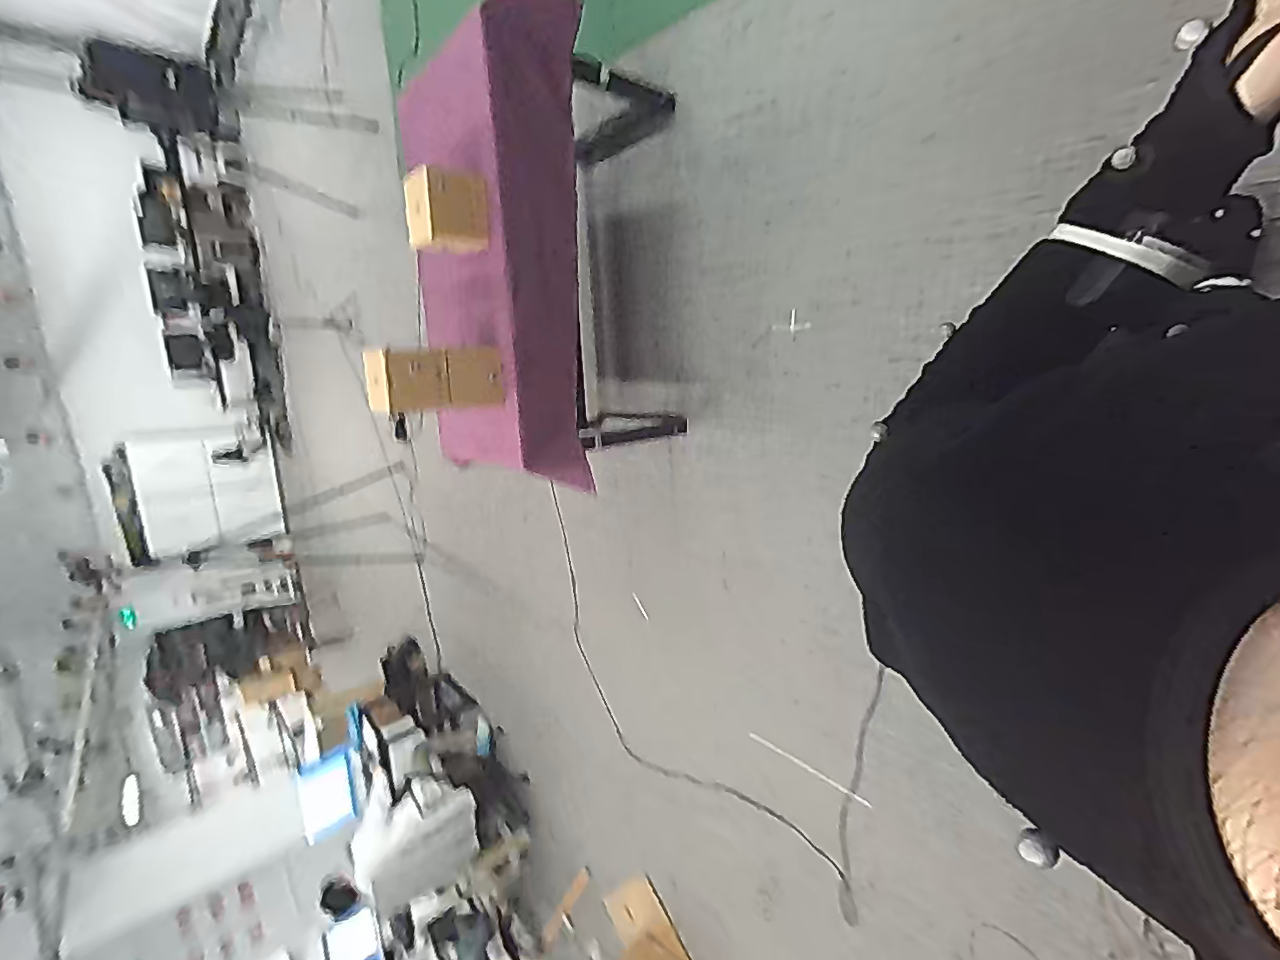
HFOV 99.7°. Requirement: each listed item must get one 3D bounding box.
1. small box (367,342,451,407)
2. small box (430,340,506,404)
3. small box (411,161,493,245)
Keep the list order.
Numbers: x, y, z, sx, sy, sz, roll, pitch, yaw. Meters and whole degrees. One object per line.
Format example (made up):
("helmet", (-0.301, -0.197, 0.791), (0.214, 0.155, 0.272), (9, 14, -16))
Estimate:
("small box", (-0.639, -0.300, 1.511), (0.179, 0.176, 0.168), (16, 111, 47))
("small box", (-0.514, -0.323, 1.614), (0.168, 0.176, 0.179), (14, 109, 47))
("small box", (-0.525, -0.766, 1.520), (0.168, 0.176, 0.179), (15, 110, 46))
